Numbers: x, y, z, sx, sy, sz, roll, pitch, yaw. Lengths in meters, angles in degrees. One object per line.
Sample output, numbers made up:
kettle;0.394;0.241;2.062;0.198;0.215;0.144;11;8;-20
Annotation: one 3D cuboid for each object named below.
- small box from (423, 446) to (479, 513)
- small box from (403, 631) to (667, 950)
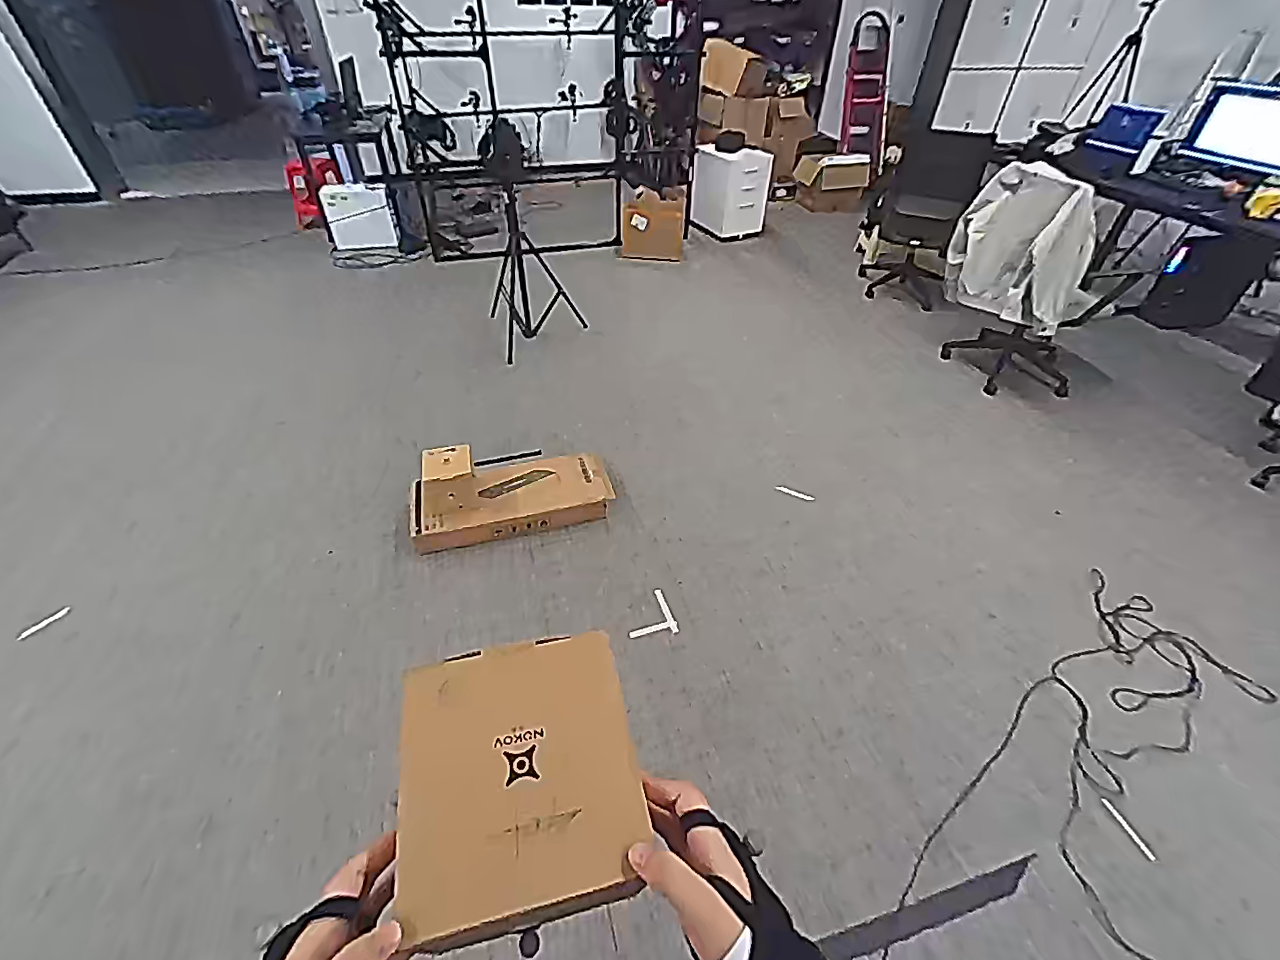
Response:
small box;-0.686;0.003;1.970;0.168;0.176;0.179;-9;43;-13
small box;-0.088;0.254;0.447;0.168;0.176;0.179;-7;50;-13
